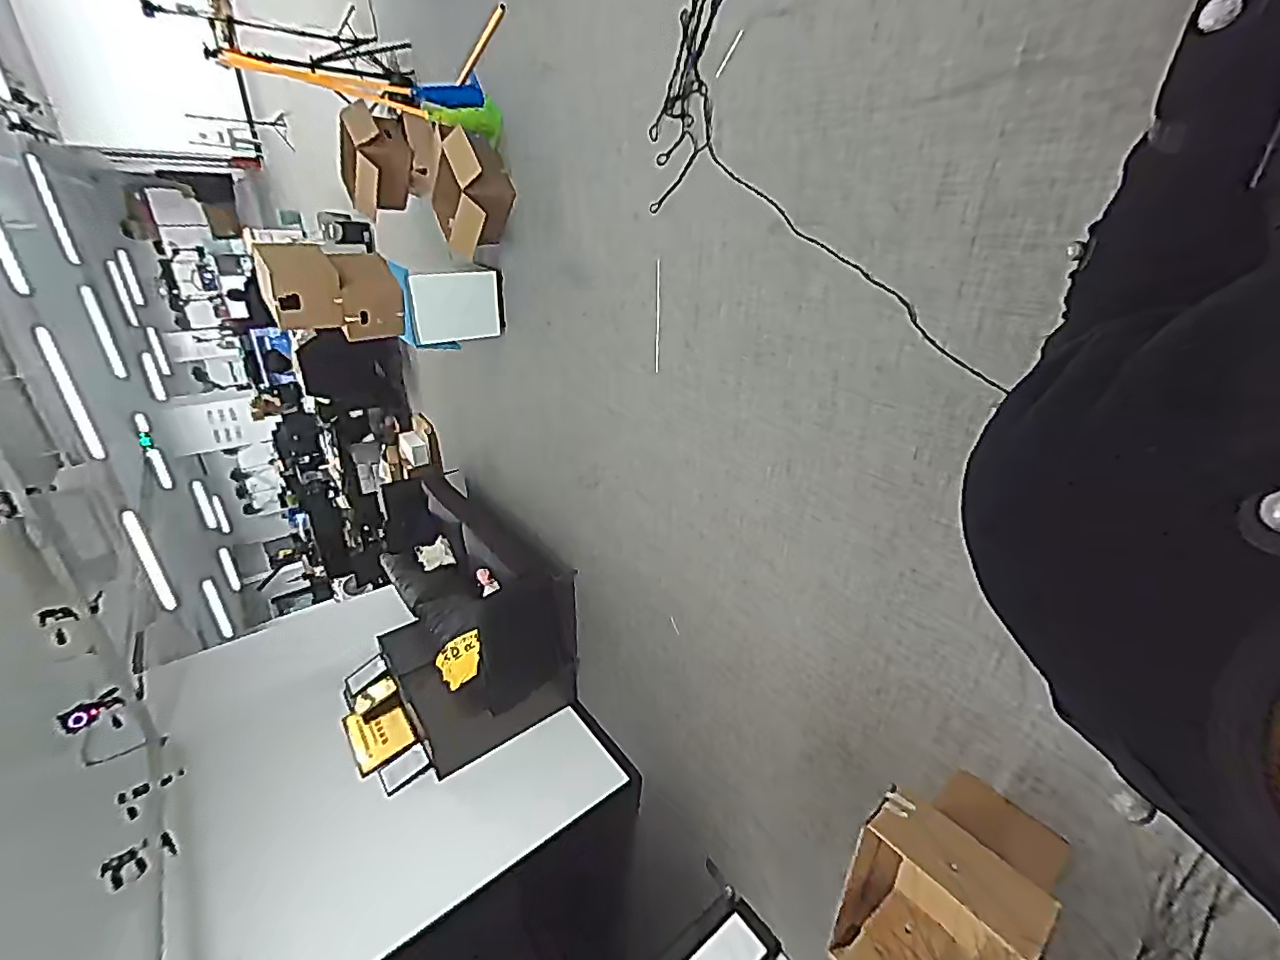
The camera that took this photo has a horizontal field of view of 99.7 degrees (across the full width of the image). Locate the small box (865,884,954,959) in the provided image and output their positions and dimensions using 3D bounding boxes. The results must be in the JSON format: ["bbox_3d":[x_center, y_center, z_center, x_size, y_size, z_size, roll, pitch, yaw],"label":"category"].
[{"bbox_3d":[0.714,1.249,1.450,0.168,0.176,0.179,24,121,48],"label":"small box"}]

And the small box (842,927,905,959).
[{"bbox_3d":[0.590,1.283,1.347,0.168,0.176,0.179,22,121,48],"label":"small box"}]
